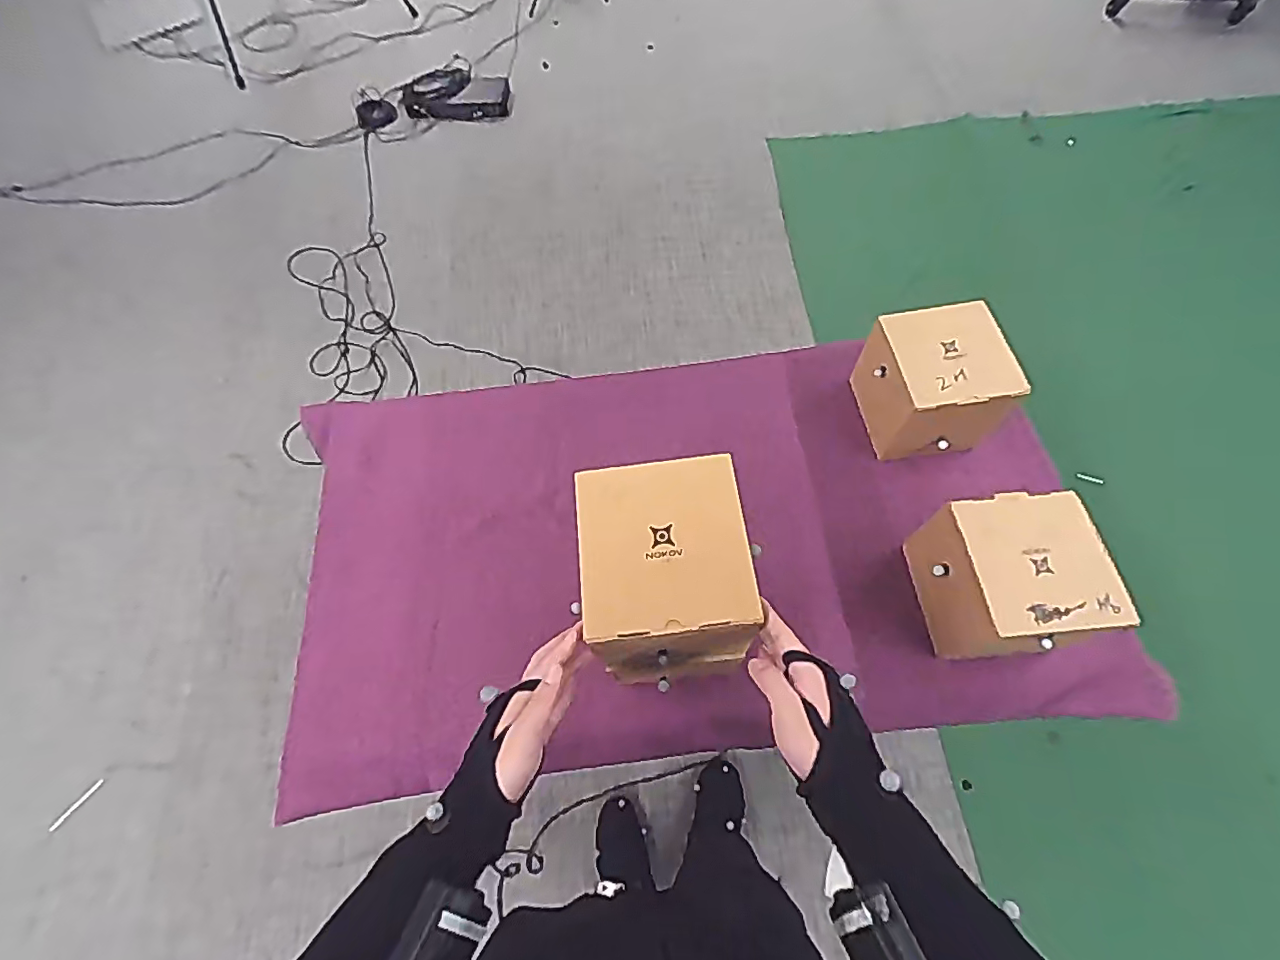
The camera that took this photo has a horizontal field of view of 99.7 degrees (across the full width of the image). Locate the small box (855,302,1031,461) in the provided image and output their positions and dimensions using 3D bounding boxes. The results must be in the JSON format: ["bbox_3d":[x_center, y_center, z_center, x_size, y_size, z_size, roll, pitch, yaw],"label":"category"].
[{"bbox_3d":[0.466,-0.153,0.869,0.168,0.176,0.179,-8,65,2],"label":"small box"}]

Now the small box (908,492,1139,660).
[{"bbox_3d":[0.492,0.134,0.731,0.168,0.176,0.179,-5,62,1],"label":"small box"}]

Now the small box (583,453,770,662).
[{"bbox_3d":[0.032,0.092,0.595,0.168,0.176,0.179,-7,65,0],"label":"small box"}]
